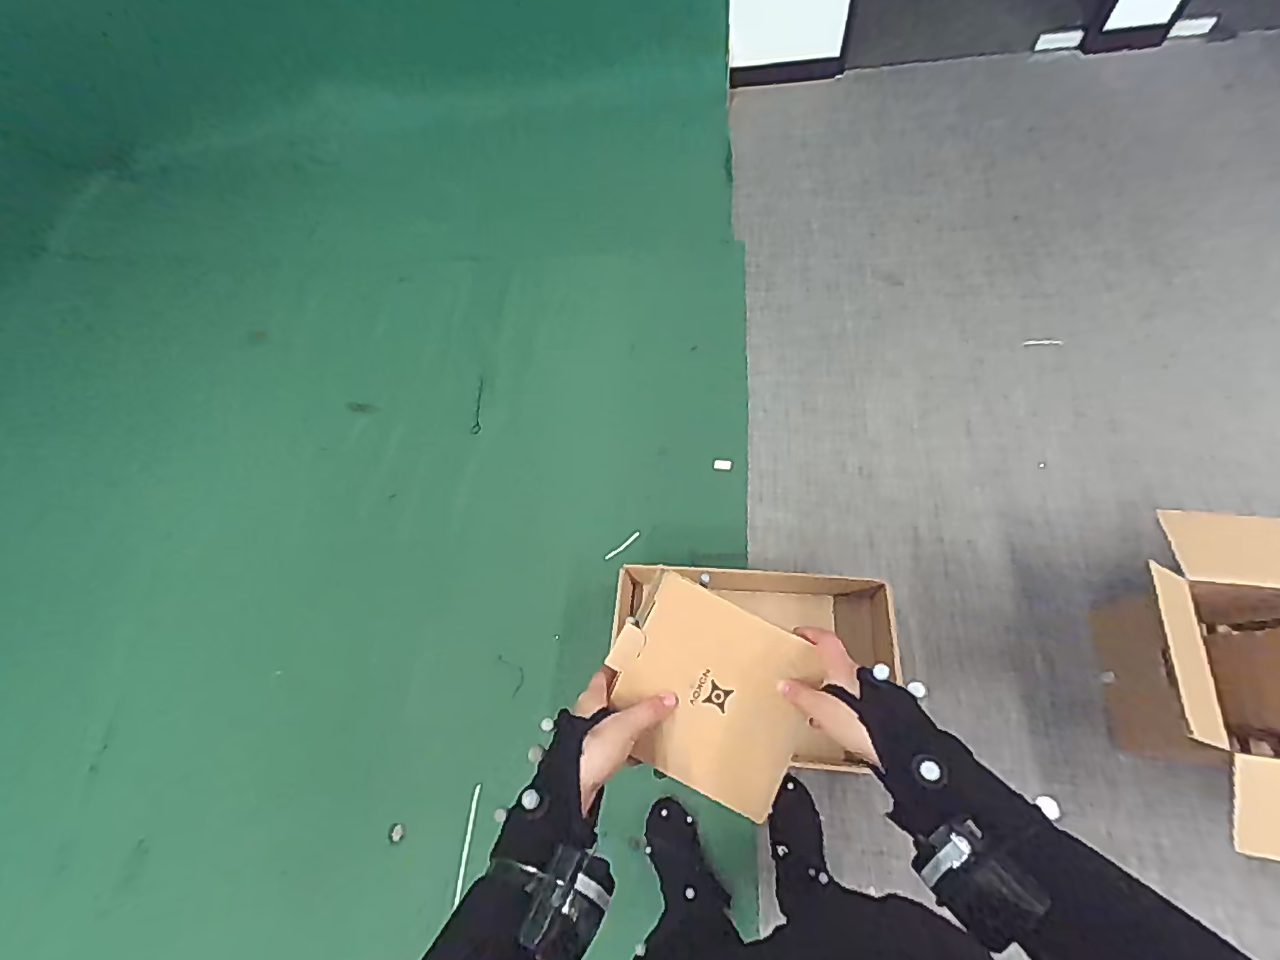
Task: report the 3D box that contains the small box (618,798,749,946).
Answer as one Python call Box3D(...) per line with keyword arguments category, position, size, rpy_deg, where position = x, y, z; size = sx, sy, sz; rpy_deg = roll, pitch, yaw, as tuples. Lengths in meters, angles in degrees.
Box3D(category="small box", position=(0.094, 0.779, 1.091), size=(0.176, 0.168, 0.179), rpy_deg=(43, 48, -6))

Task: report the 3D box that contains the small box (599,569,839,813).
Box3D(category="small box", position=(0.075, 0.204, 0.579), size=(0.179, 0.176, 0.168), rpy_deg=(26, 81, 5))

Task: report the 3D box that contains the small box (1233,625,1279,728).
Box3D(category="small box", position=(1.232, 0.363, 0.961), size=(0.168, 0.176, 0.179), rpy_deg=(11, 67, 9))
